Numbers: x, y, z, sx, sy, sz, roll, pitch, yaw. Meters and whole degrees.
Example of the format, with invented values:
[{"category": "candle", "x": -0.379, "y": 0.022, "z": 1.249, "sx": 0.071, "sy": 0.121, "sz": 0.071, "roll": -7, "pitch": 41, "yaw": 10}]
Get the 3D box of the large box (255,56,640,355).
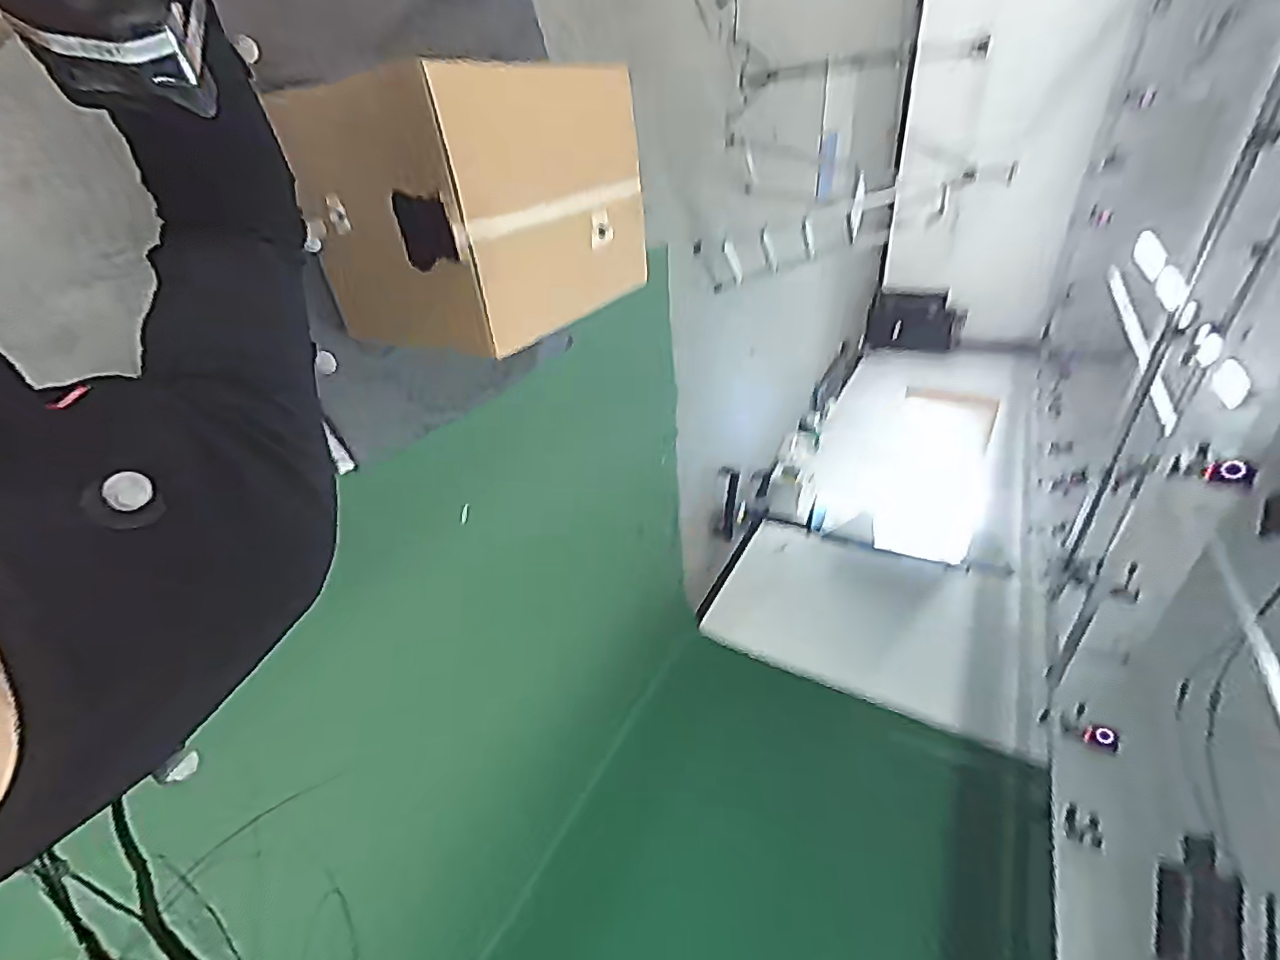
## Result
[{"category": "large box", "x": -0.241, "y": -0.411, "z": 0.815, "sx": 0.408, "sy": 0.320, "sz": 0.320, "roll": -48, "pitch": 141, "yaw": -46}]
